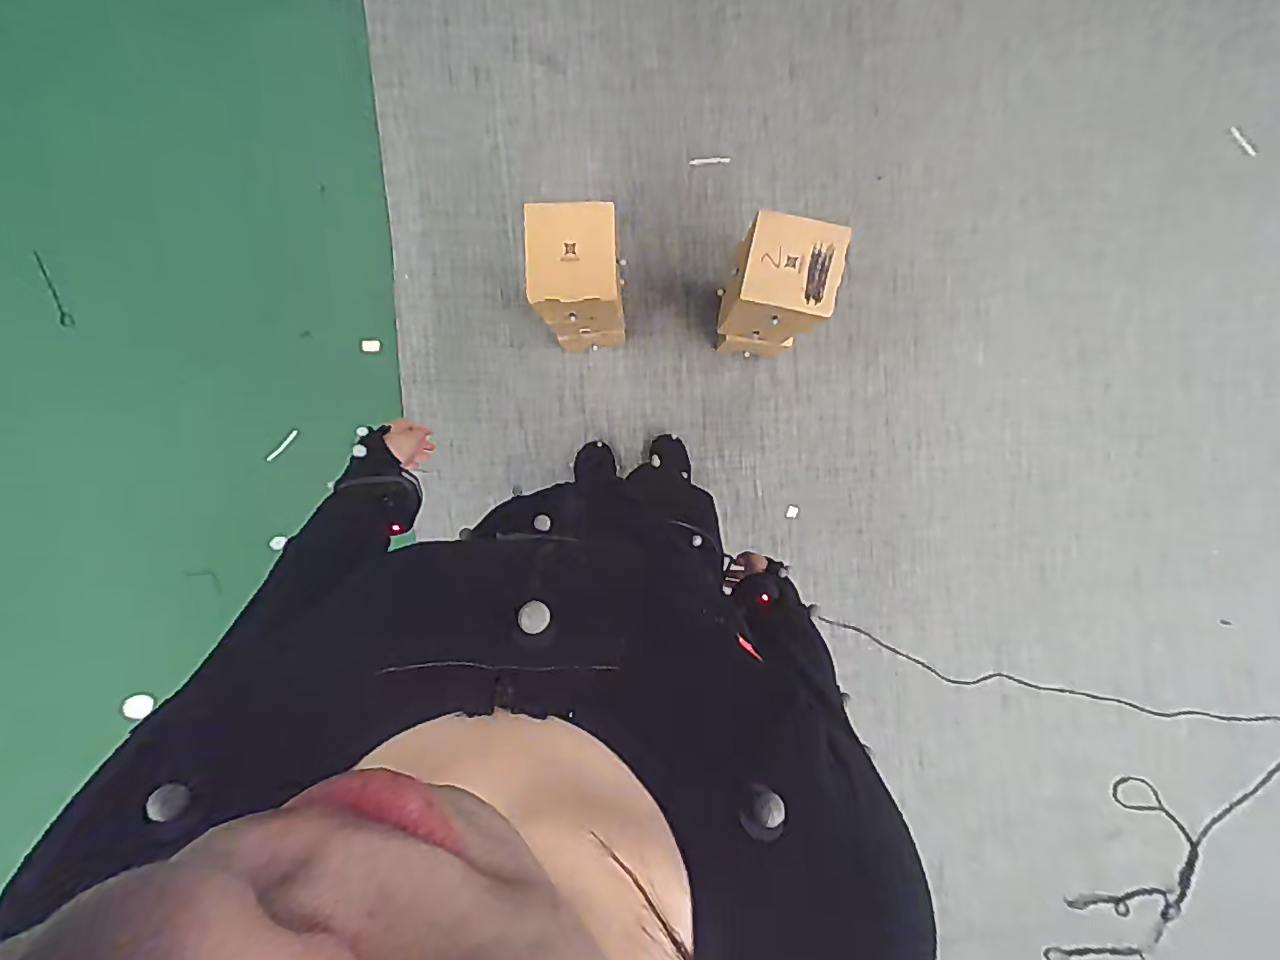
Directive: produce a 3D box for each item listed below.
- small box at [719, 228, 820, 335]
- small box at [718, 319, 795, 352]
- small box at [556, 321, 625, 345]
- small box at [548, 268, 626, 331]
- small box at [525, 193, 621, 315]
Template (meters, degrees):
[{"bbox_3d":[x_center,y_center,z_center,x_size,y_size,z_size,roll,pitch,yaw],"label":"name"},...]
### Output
[{"bbox_3d":[0.279,-0.432,1.208,0.168,0.176,0.179,10,96,-2],"label":"small box"},{"bbox_3d":[0.298,-0.434,1.372,0.168,0.176,0.179,6,95,0],"label":"small box"},{"bbox_3d":[-0.129,-0.453,1.370,0.168,0.176,0.179,-8,95,1],"label":"small box"},{"bbox_3d":[-0.124,-0.445,1.208,0.168,0.176,0.179,-8,95,1],"label":"small box"},{"bbox_3d":[-0.124,-0.428,1.046,0.168,0.176,0.179,-1,95,0],"label":"small box"}]
